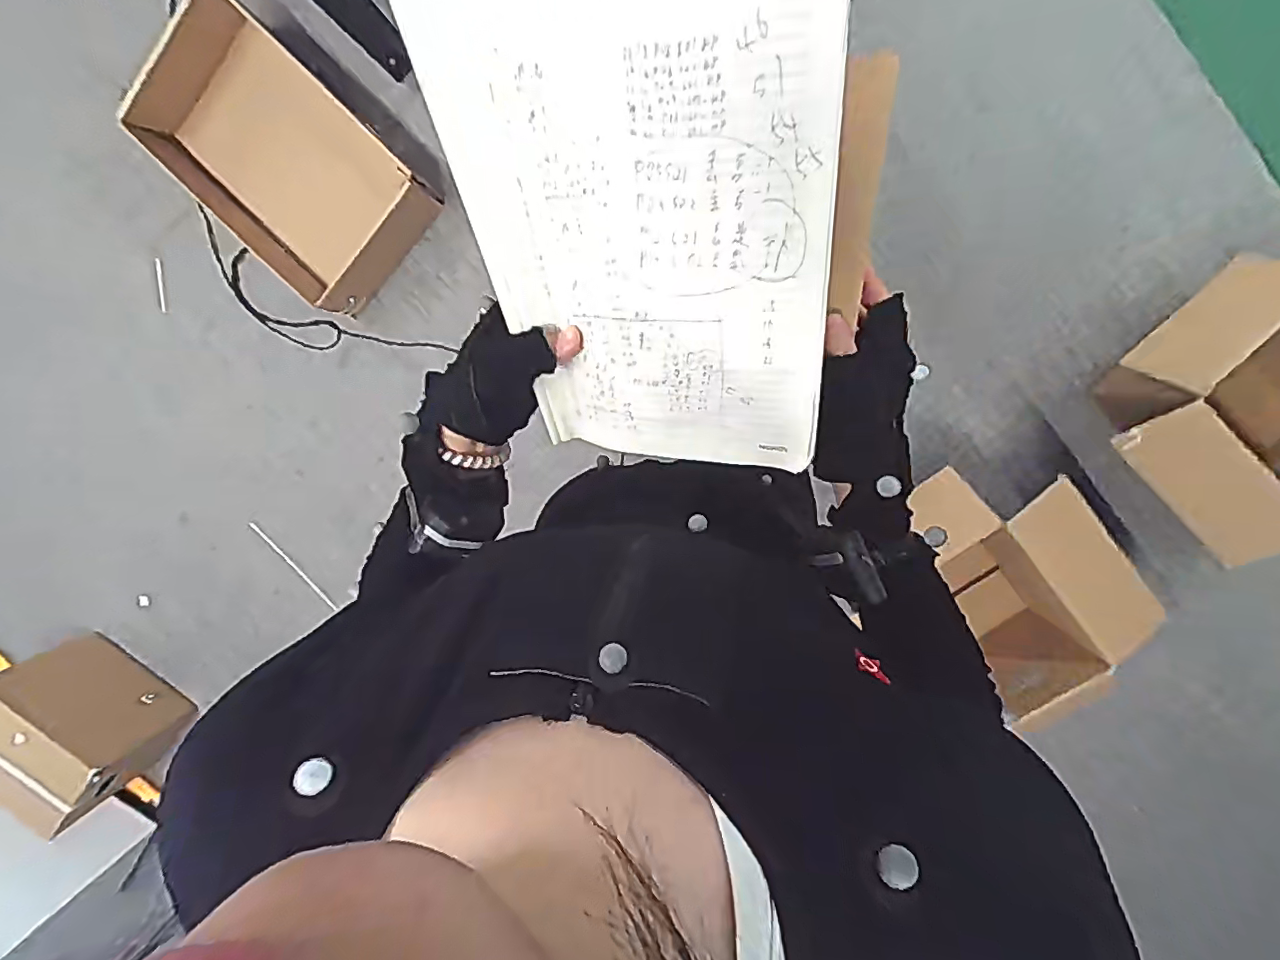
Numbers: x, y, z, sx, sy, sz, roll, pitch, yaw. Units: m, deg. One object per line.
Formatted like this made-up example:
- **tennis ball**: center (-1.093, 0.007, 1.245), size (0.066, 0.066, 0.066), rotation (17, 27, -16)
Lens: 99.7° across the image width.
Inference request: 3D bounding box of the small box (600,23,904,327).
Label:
- **small box**: center (0.073, -0.214, 0.412), size (0.179, 0.176, 0.168), rotation (5, 112, 10)
